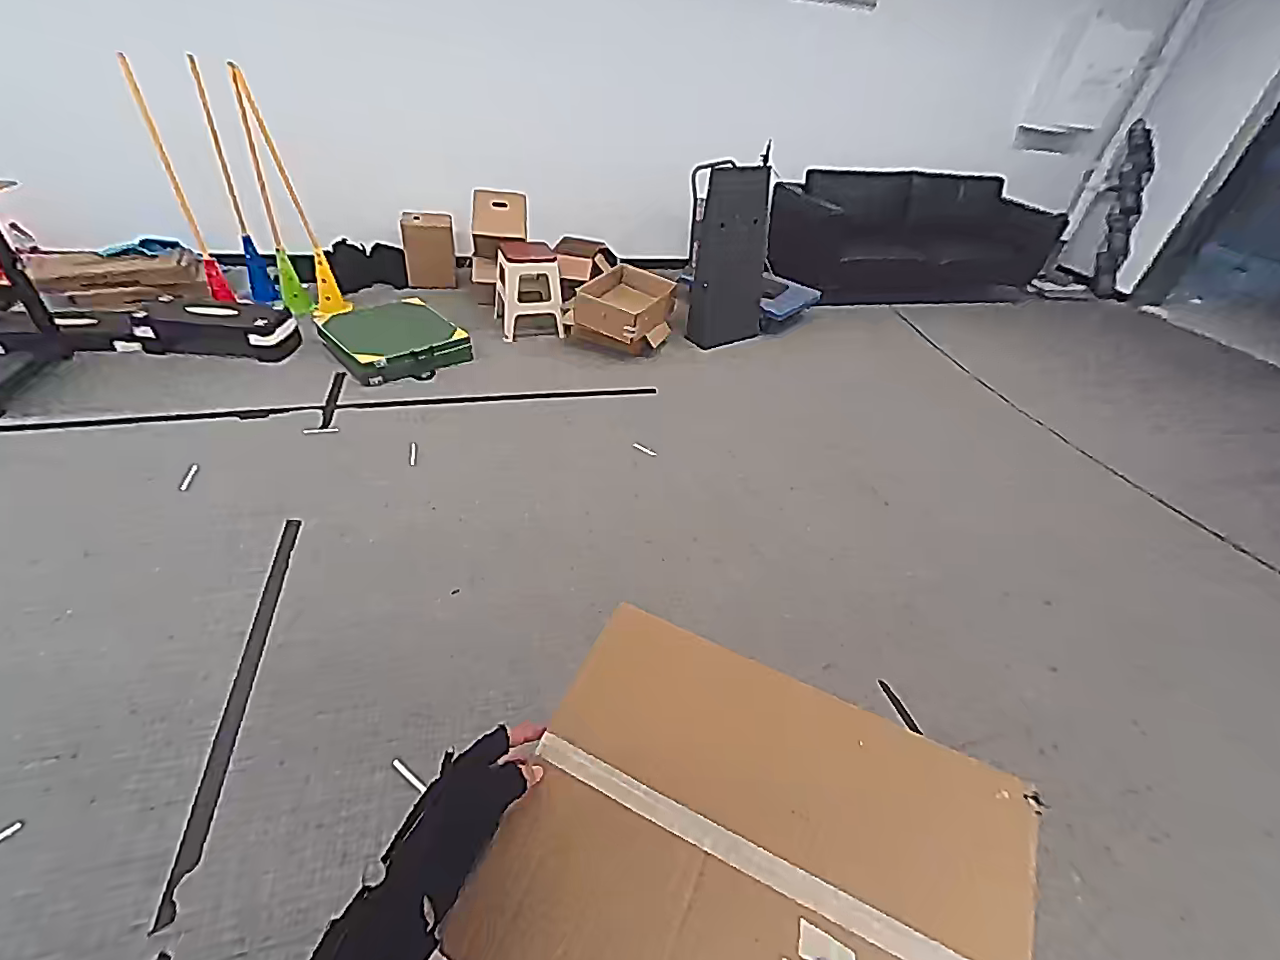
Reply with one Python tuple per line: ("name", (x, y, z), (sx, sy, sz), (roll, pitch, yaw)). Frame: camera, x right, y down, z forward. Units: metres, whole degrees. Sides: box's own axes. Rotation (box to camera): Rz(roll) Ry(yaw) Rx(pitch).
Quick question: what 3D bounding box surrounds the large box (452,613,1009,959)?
("large box", (0.090, 0.408, 0.572), (0.408, 0.320, 0.320), (20, 54, 16))
